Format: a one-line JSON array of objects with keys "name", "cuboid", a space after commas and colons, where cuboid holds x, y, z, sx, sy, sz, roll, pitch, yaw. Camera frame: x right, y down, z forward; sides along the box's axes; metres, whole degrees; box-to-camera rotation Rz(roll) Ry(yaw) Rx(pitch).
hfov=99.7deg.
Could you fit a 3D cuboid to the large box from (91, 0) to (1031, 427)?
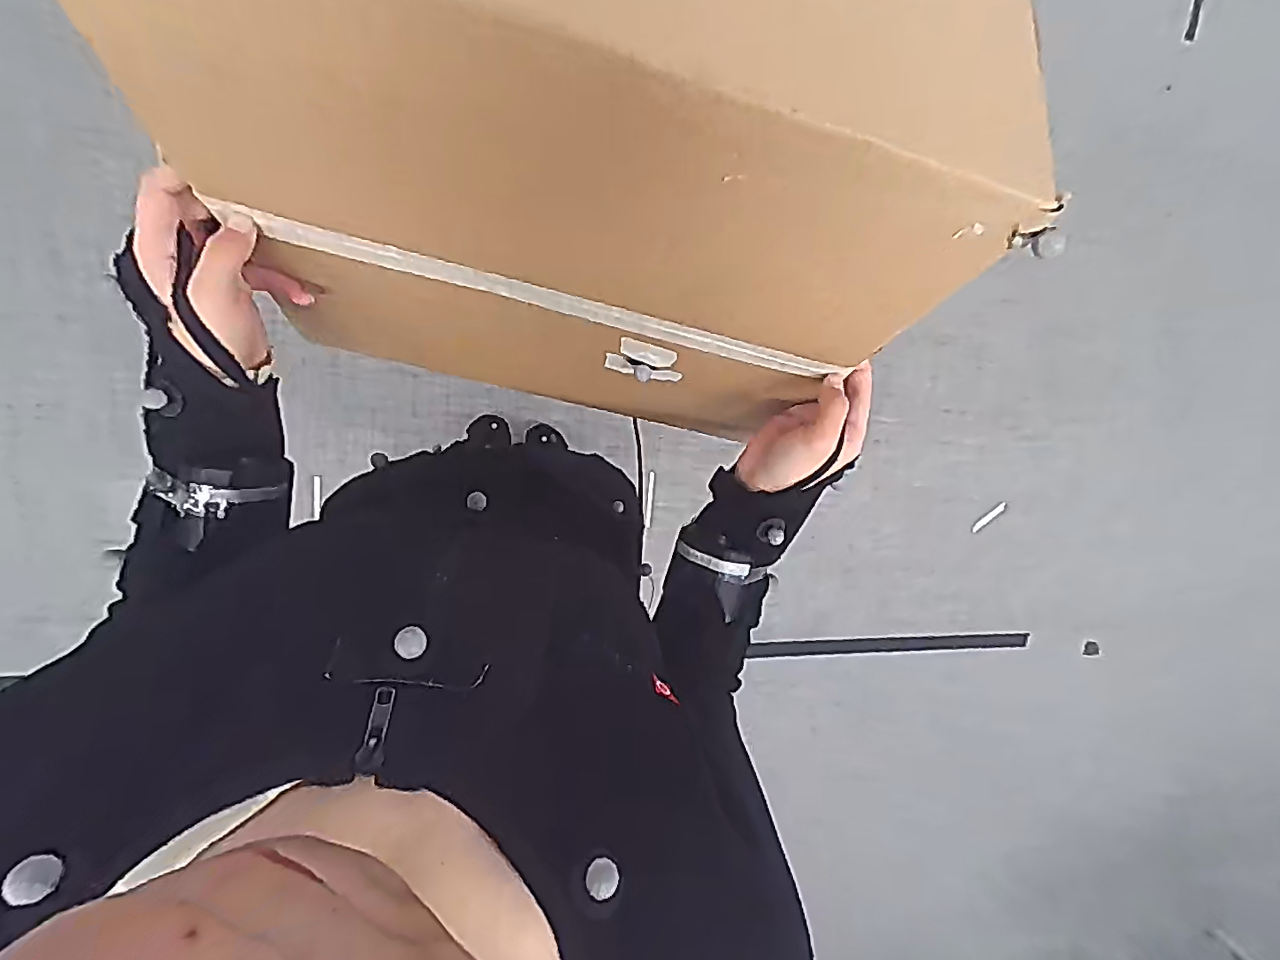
[{"name": "large box", "cuboid": [-0.033, -0.268, 0.390, 0.408, 0.320, 0.320, 11, 74, -10]}]
